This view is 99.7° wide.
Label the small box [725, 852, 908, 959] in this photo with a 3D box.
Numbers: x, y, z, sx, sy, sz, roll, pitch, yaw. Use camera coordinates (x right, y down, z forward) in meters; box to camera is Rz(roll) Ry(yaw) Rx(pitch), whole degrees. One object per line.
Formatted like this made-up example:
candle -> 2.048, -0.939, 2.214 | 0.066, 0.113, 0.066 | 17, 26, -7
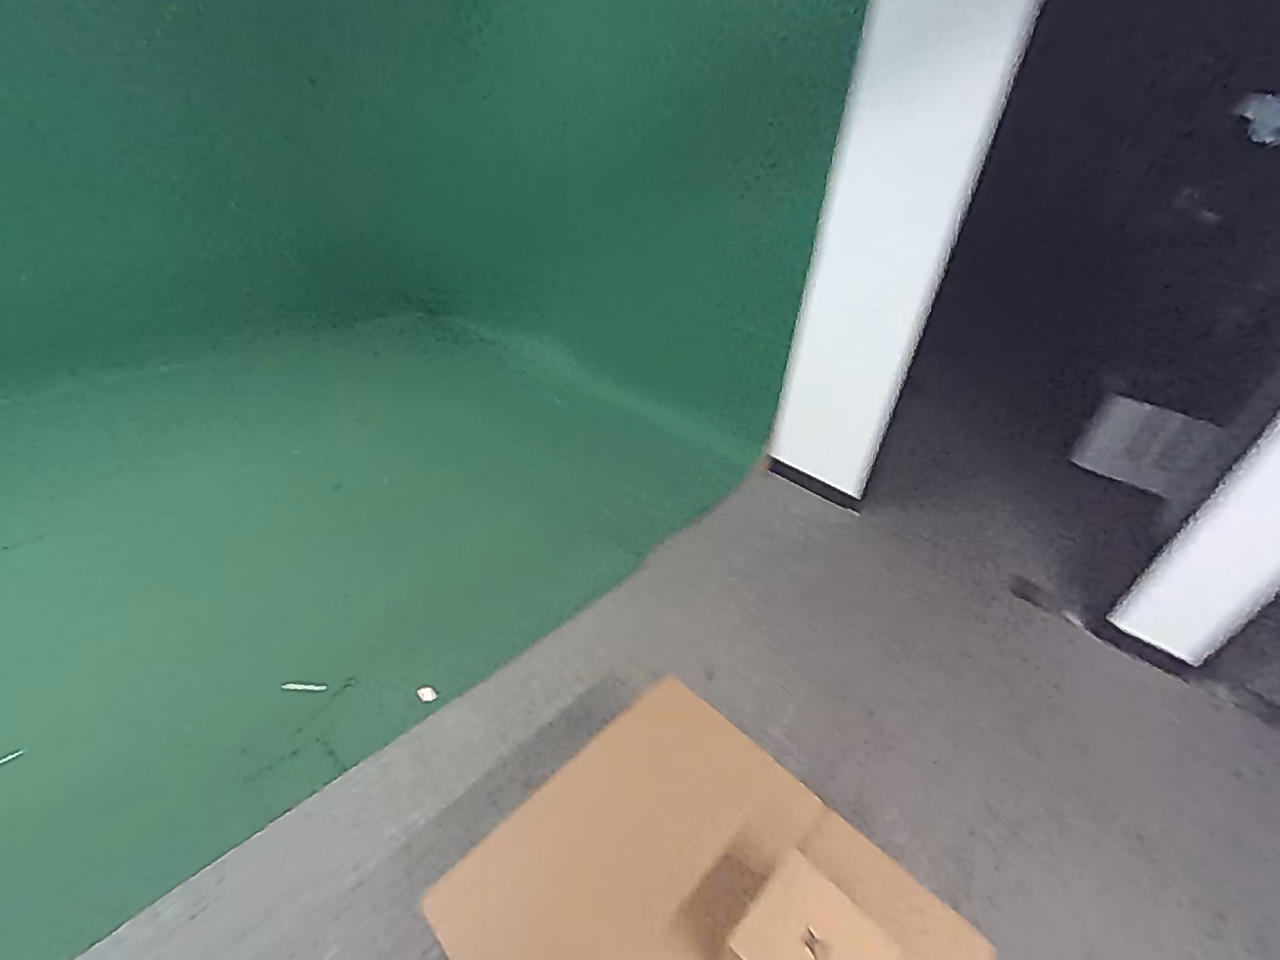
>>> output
small box -> 0.231, 0.683, 0.753 | 0.168, 0.176, 0.179 | -27, 44, -35
